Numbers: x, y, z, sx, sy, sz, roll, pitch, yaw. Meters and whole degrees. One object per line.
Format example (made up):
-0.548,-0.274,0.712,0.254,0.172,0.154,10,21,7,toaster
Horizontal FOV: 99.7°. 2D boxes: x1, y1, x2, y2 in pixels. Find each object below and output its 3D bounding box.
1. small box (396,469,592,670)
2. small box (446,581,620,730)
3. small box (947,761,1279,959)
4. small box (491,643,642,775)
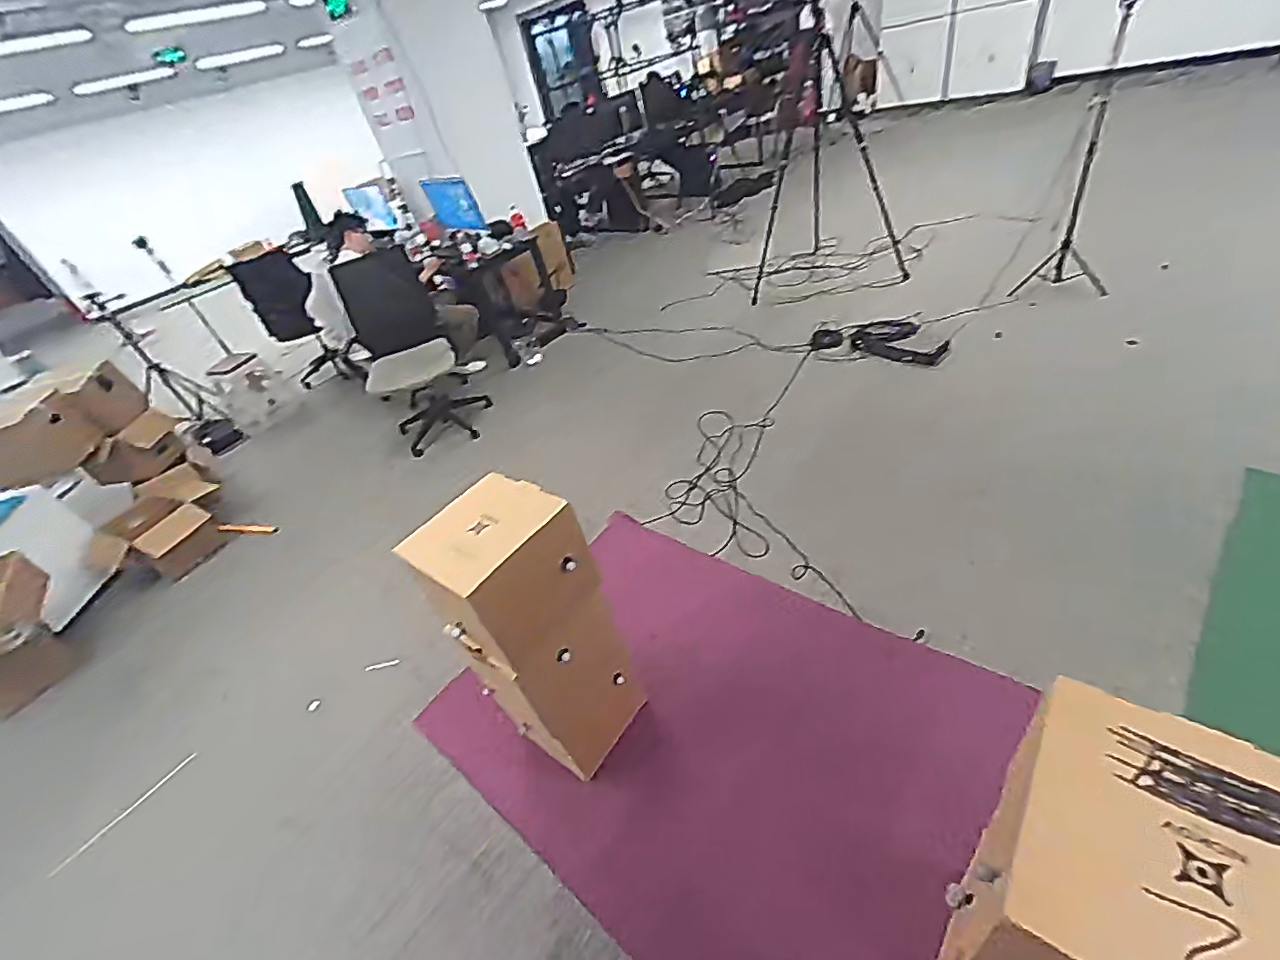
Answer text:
-0.183,0.116,0.735,0.168,0.176,0.179,19,50,37,small box
-0.154,0.244,0.833,0.168,0.176,0.179,19,49,36,small box
0.377,0.392,0.455,0.168,0.176,0.179,21,51,38,small box
-0.117,0.367,0.936,0.168,0.176,0.179,17,49,36,small box
